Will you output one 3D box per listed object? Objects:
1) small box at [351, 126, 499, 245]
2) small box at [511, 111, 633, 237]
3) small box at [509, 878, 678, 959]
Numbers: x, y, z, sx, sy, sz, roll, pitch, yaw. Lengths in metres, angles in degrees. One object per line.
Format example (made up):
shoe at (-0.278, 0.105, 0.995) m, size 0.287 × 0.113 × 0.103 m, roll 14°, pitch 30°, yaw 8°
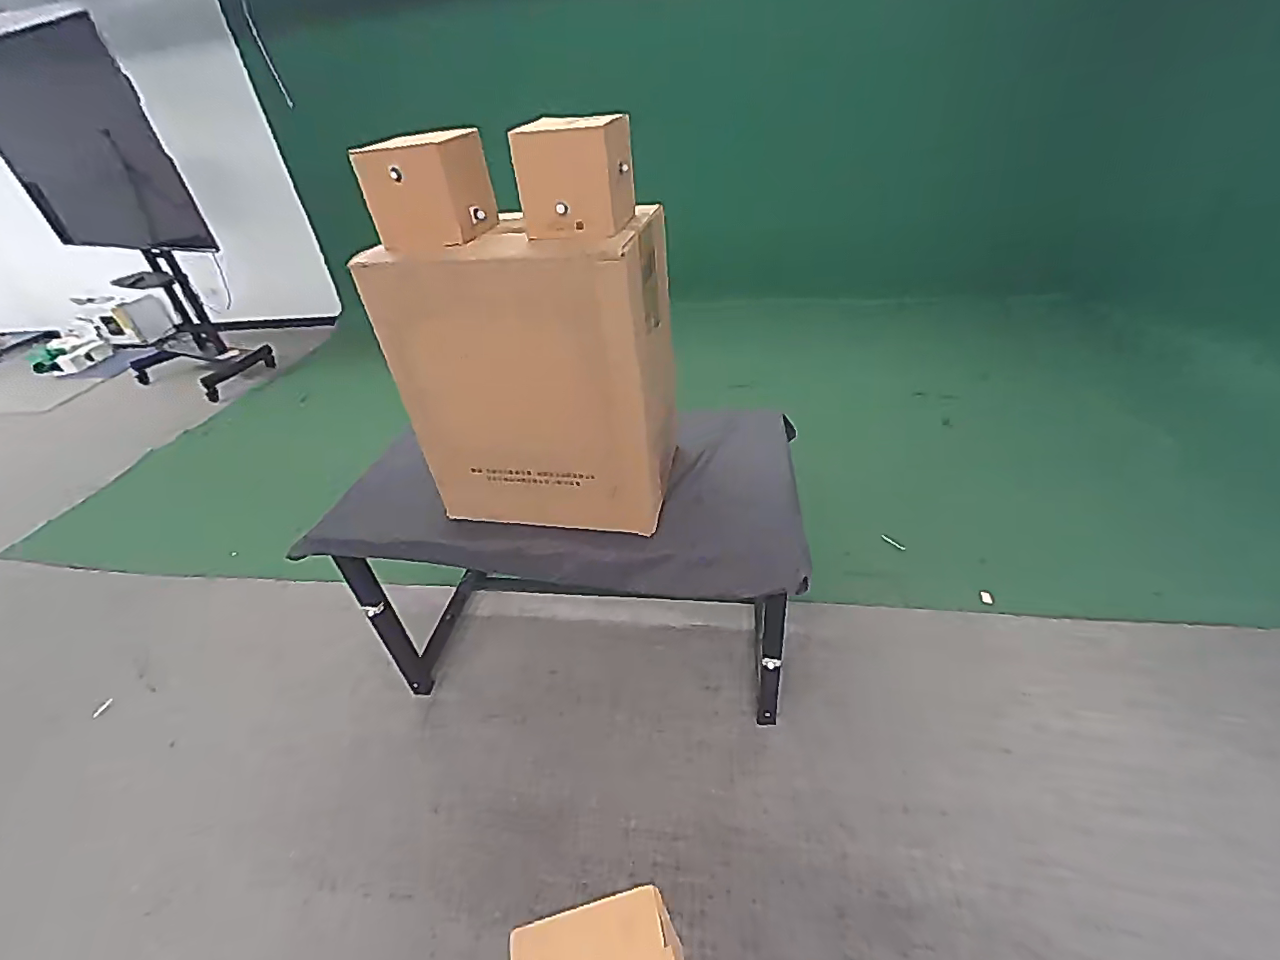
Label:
small box at (-0.393, -0.555, 1.023) m, size 0.179 × 0.176 × 0.168 m, roll 5°, pitch 41°, yaw 12°
small box at (-0.110, -0.550, 0.971) m, size 0.168 × 0.176 × 0.179 m, roll 5°, pitch 41°, yaw 12°
small box at (-0.038, 0.595, 0.605) m, size 0.179 × 0.176 × 0.168 m, roll -15°, pitch 31°, yaw -4°
